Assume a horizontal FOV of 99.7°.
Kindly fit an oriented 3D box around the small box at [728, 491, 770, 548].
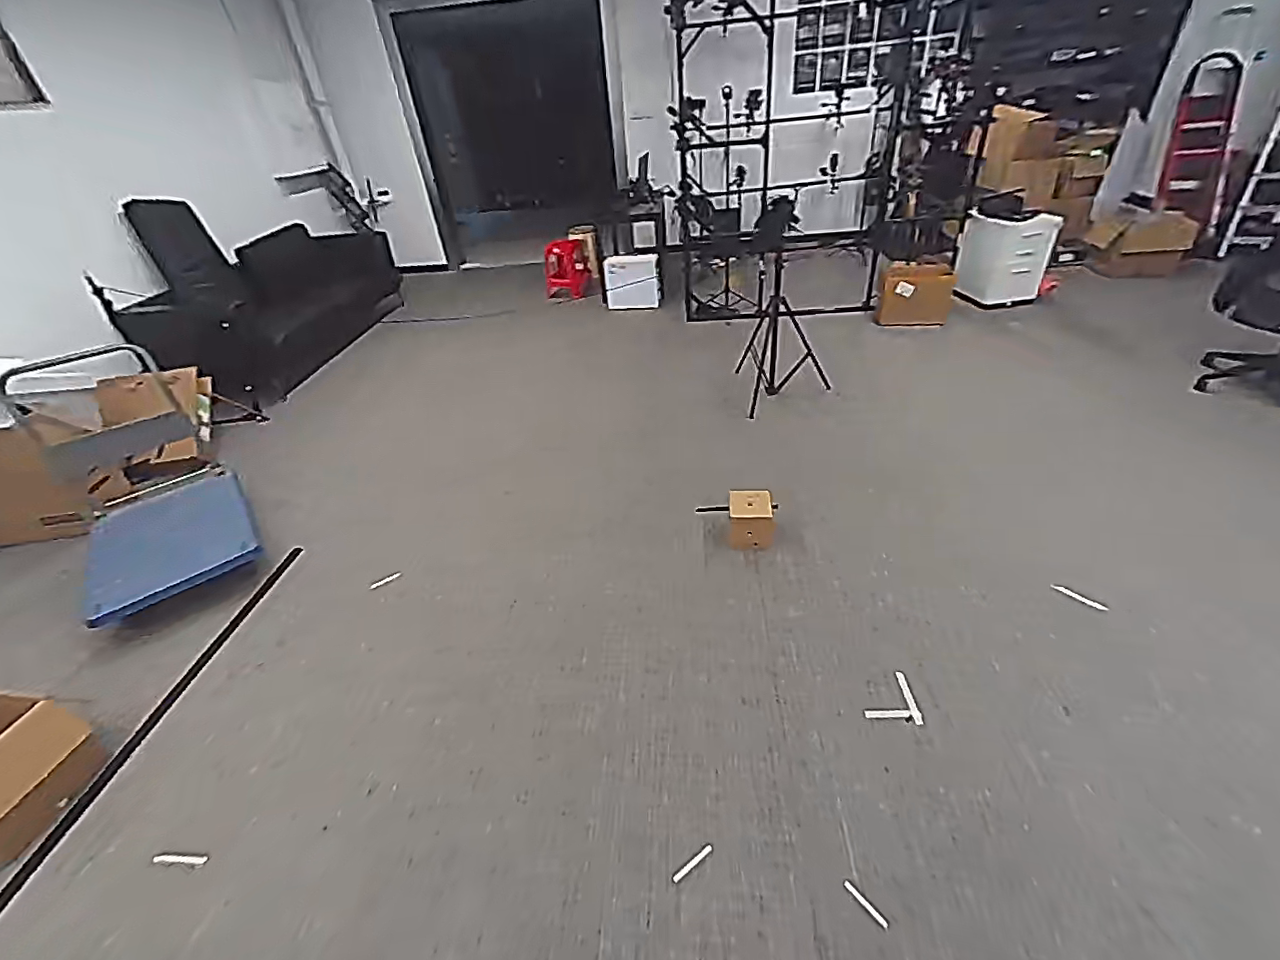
[{"bbox_3d":[0.448,0.165,2.232,0.168,0.176,0.179,-1,35,8],"label":"small box"}]
